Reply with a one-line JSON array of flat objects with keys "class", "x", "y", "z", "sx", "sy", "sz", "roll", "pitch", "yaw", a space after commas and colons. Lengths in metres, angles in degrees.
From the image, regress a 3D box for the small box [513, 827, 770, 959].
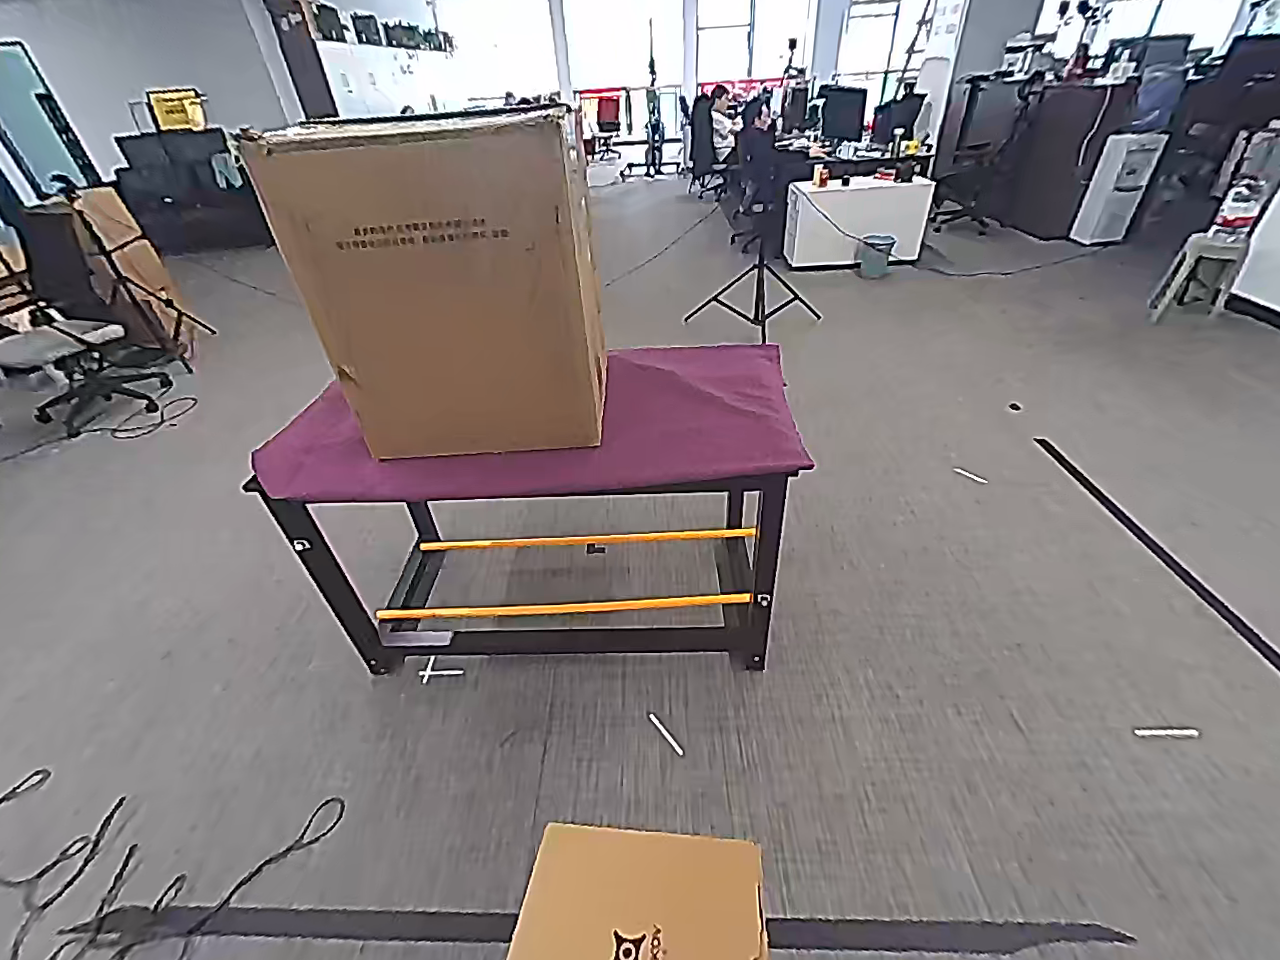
[{"class": "small box", "x": 0.007, "y": 0.395, "z": 0.397, "sx": 0.179, "sy": 0.176, "sz": 0.168, "roll": -1, "pitch": 25, "yaw": 10}]
